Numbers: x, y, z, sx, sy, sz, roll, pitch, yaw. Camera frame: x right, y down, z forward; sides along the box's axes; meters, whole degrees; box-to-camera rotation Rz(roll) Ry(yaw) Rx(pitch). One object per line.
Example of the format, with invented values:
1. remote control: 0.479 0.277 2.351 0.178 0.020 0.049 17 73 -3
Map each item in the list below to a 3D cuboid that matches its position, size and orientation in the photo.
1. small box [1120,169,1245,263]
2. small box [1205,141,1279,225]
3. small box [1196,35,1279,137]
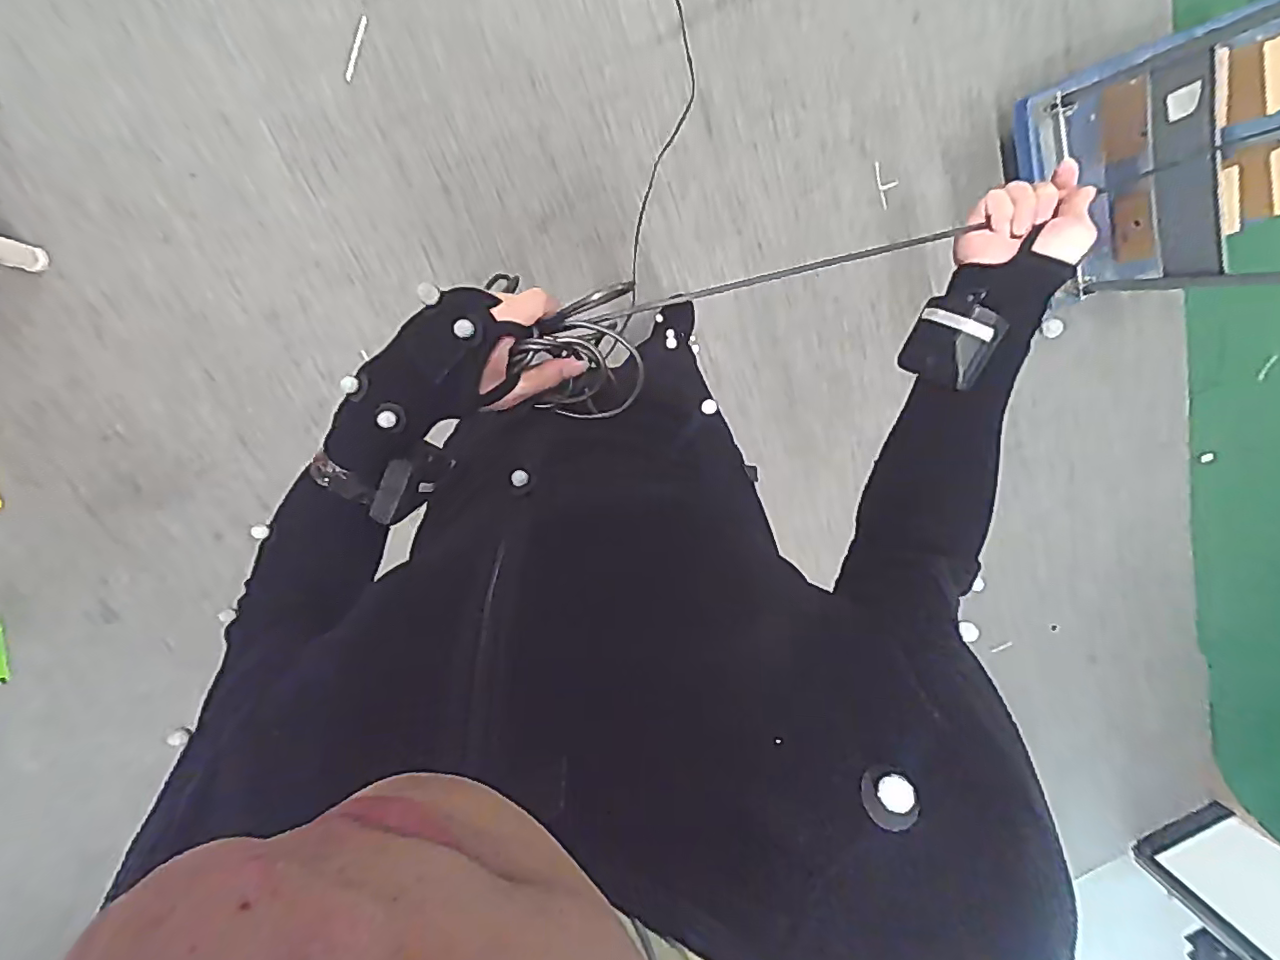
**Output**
1. small box: 1.446 -0.699 1.448 0.179 0.176 0.168 -22 107 -2
2. small box: 1.693 -0.806 1.460 0.179 0.176 0.168 -27 107 -1
3. small box: 1.585 -1.020 1.385 0.179 0.176 0.168 -27 108 -2
